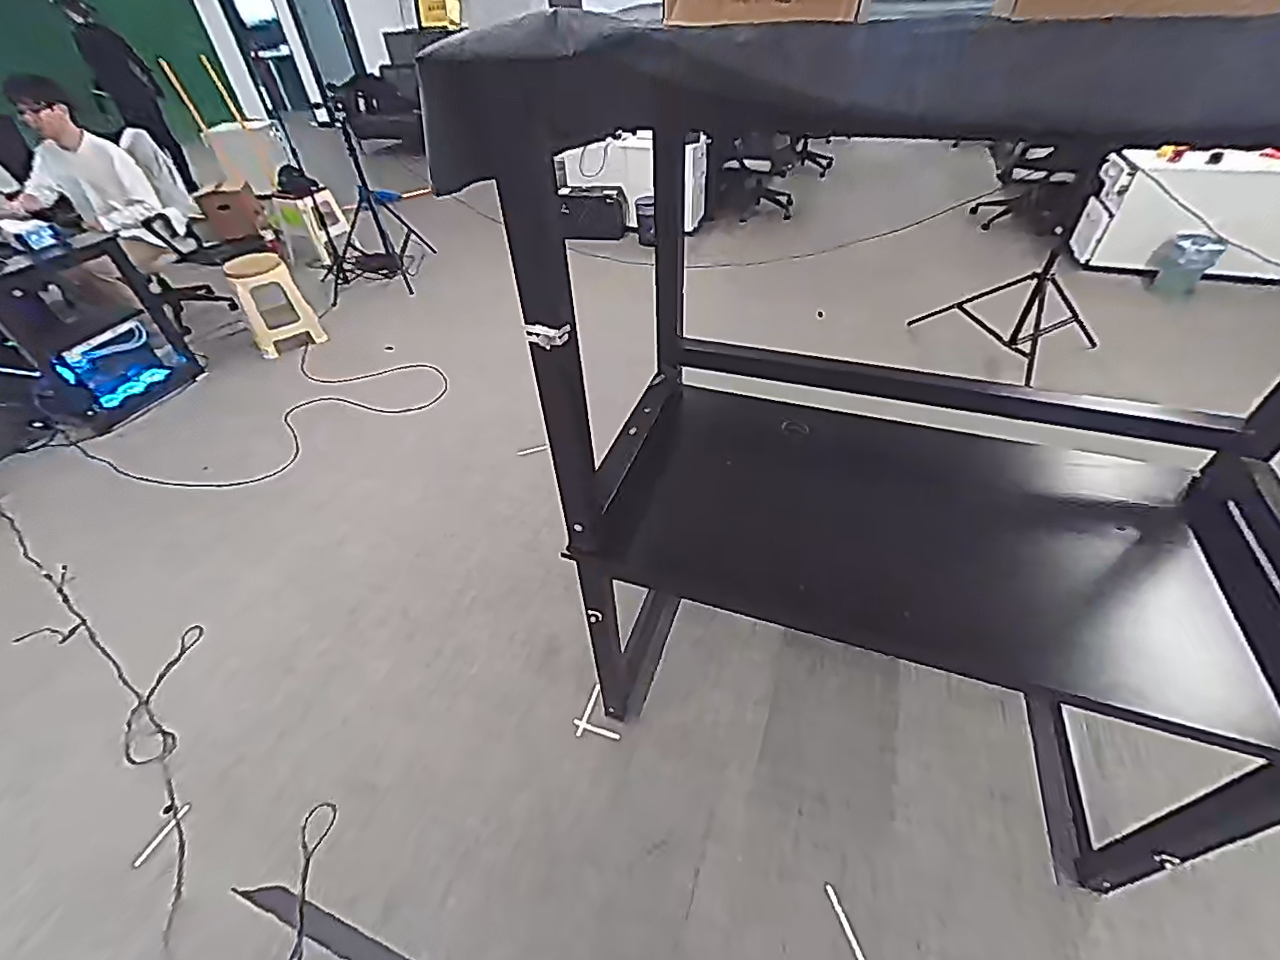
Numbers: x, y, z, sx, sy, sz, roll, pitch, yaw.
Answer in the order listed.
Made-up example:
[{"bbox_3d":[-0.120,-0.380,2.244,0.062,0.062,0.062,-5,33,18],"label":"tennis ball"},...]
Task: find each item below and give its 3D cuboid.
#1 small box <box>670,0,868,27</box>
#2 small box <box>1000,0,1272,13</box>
[{"bbox_3d":[0.124,-0.500,0.458,0.168,0.176,0.179,13,44,14],"label":"small box"},{"bbox_3d":[0.381,-0.445,0.382,0.168,0.176,0.179,13,43,17],"label":"small box"}]
